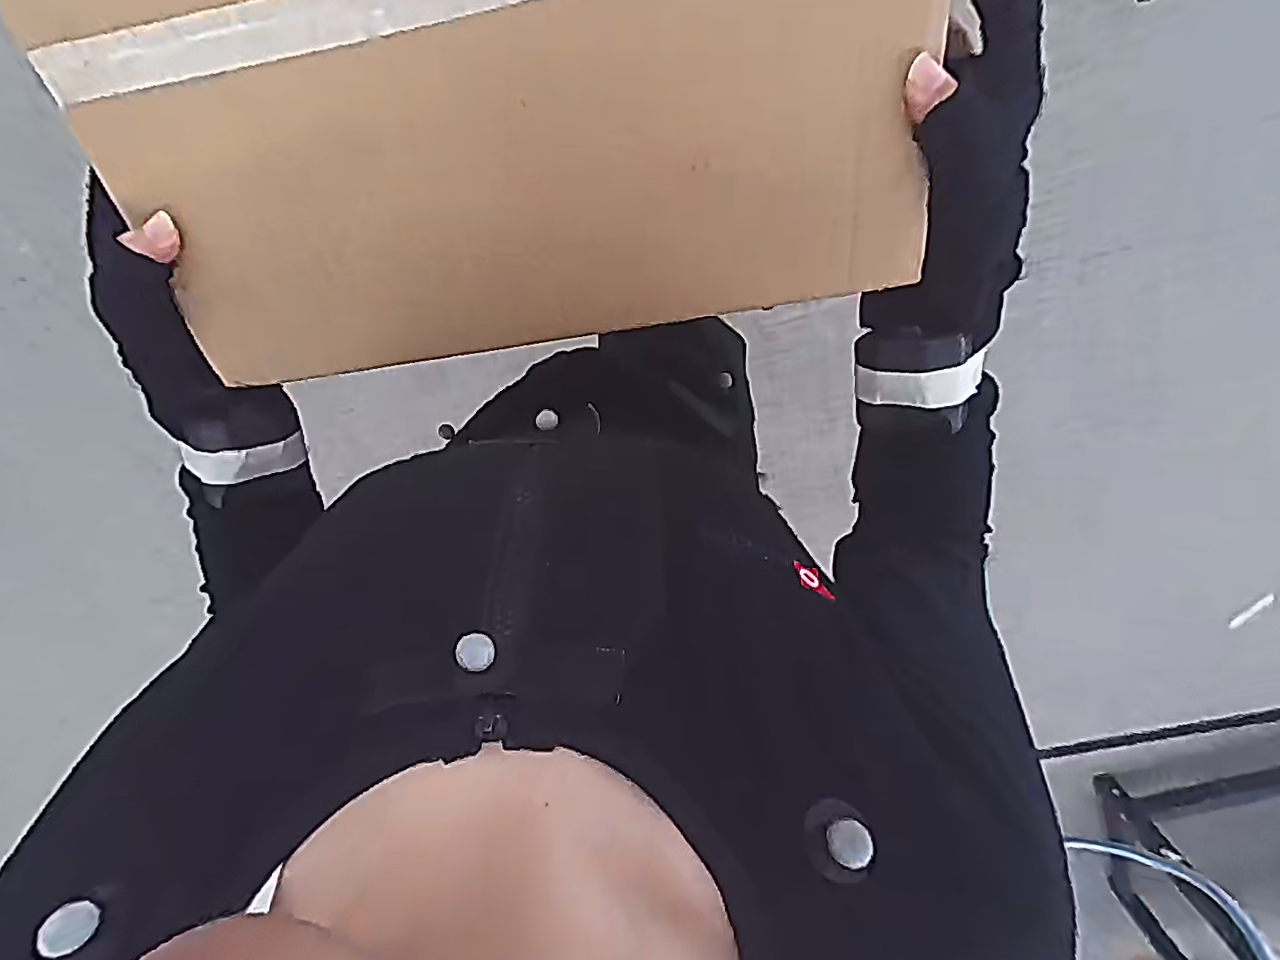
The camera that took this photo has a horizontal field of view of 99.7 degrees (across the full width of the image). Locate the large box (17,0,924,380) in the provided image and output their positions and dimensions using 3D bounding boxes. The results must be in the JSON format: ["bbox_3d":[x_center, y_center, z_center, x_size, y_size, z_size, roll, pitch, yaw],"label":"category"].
[{"bbox_3d":[-0.072,-0.296,0.362,0.408,0.320,0.320,-7,121,7],"label":"large box"}]
